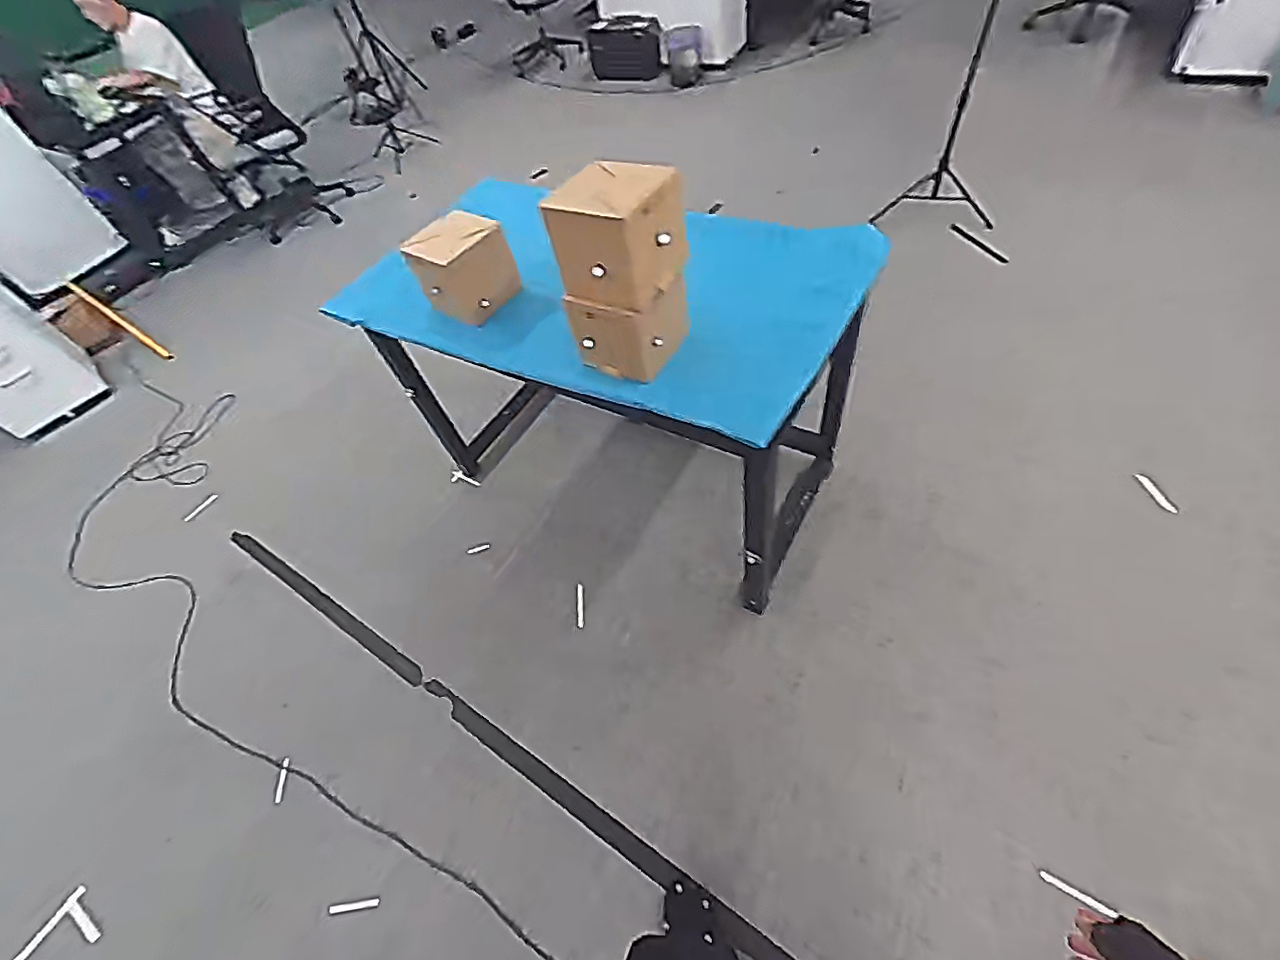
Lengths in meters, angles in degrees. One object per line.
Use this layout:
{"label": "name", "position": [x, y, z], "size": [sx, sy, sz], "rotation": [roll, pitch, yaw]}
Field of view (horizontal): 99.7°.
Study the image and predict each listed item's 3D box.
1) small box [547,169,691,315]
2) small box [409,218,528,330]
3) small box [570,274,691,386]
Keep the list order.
{"label": "small box", "position": [-0.033, -0.420, 0.945], "size": [0.179, 0.176, 0.168], "rotation": [22, 59, 28]}
{"label": "small box", "position": [-0.404, -0.490, 1.277], "size": [0.168, 0.176, 0.179], "rotation": [27, 64, 27]}
{"label": "small box", "position": [-0.015, -0.320, 1.074], "size": [0.168, 0.176, 0.179], "rotation": [21, 60, 25]}
